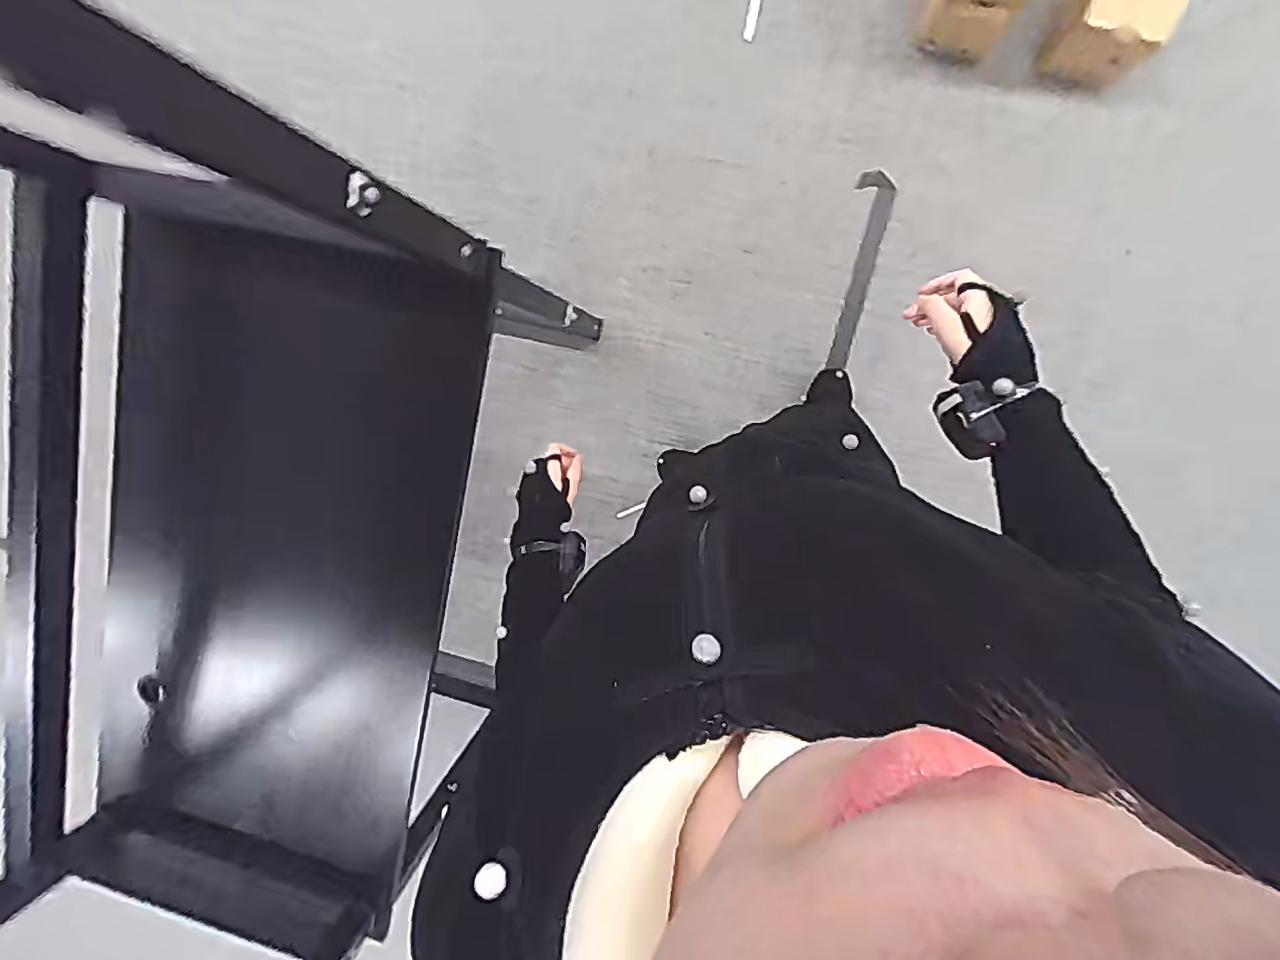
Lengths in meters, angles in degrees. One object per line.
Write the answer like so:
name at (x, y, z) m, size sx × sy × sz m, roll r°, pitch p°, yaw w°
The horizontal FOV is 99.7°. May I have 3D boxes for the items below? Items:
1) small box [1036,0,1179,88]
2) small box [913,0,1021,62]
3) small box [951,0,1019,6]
small box at (0.986, -0.976, 1.139) m, size 0.168 × 0.176 × 0.179 m, roll 18°, pitch 100°, yaw 4°
small box at (0.714, -1.050, 1.162) m, size 0.168 × 0.176 × 0.179 m, roll 15°, pitch 100°, yaw 5°
small box at (0.688, -1.028, 1.000) m, size 0.179 × 0.176 × 0.168 m, roll 10°, pitch 100°, yaw 5°
